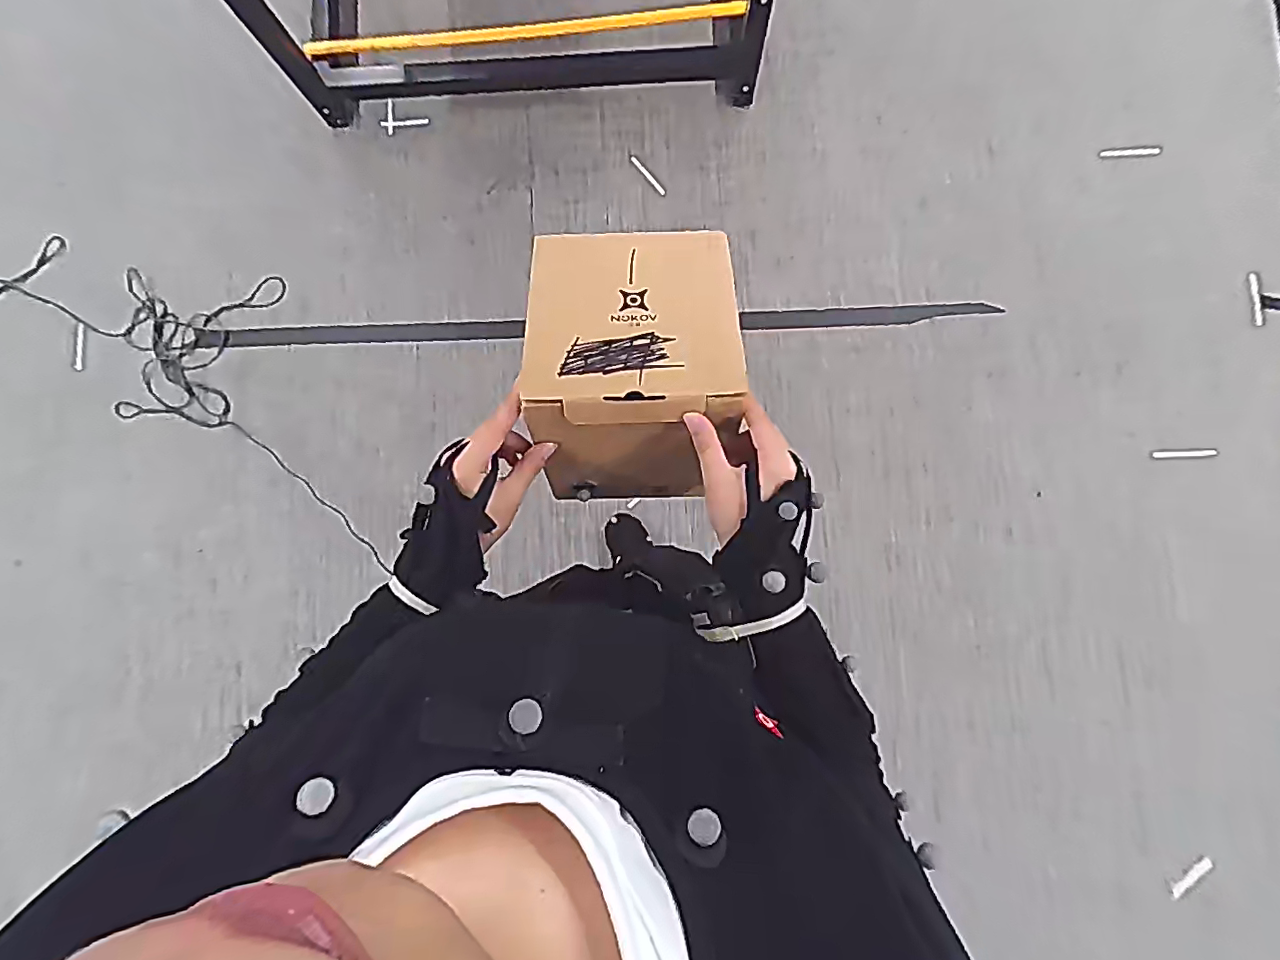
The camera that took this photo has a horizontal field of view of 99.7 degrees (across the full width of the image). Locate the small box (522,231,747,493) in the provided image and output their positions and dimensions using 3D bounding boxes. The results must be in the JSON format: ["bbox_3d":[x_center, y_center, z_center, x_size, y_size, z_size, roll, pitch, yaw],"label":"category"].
[{"bbox_3d":[-0.002,-0.096,0.494,0.168,0.176,0.179,-1,62,0],"label":"small box"}]
